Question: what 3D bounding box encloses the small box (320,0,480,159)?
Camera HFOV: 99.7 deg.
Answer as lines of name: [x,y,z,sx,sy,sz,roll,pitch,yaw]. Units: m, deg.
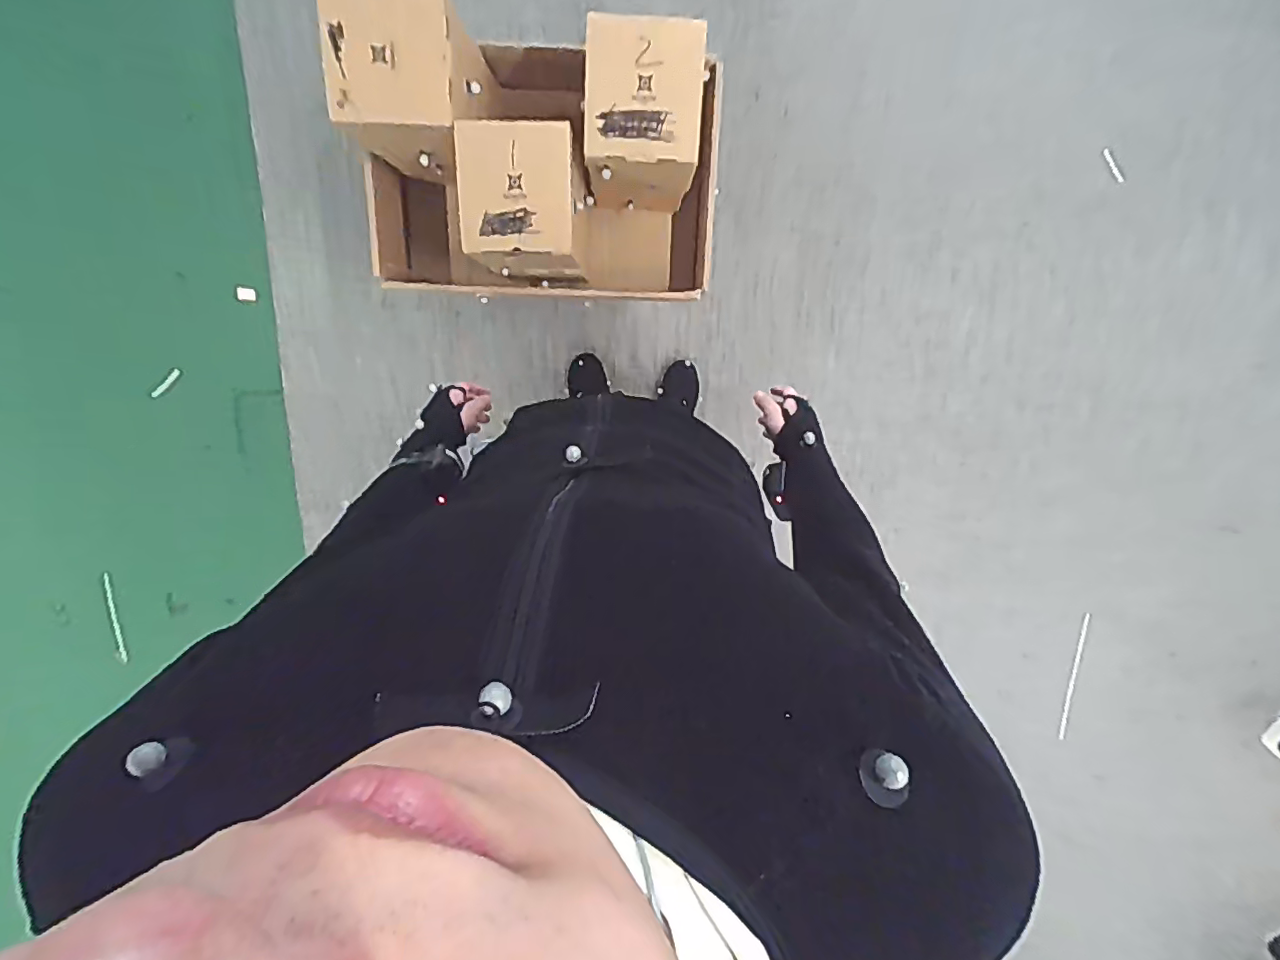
small box: [-0.344,-0.601,0.812,0.179,0.176,0.168,2,105,-2]
